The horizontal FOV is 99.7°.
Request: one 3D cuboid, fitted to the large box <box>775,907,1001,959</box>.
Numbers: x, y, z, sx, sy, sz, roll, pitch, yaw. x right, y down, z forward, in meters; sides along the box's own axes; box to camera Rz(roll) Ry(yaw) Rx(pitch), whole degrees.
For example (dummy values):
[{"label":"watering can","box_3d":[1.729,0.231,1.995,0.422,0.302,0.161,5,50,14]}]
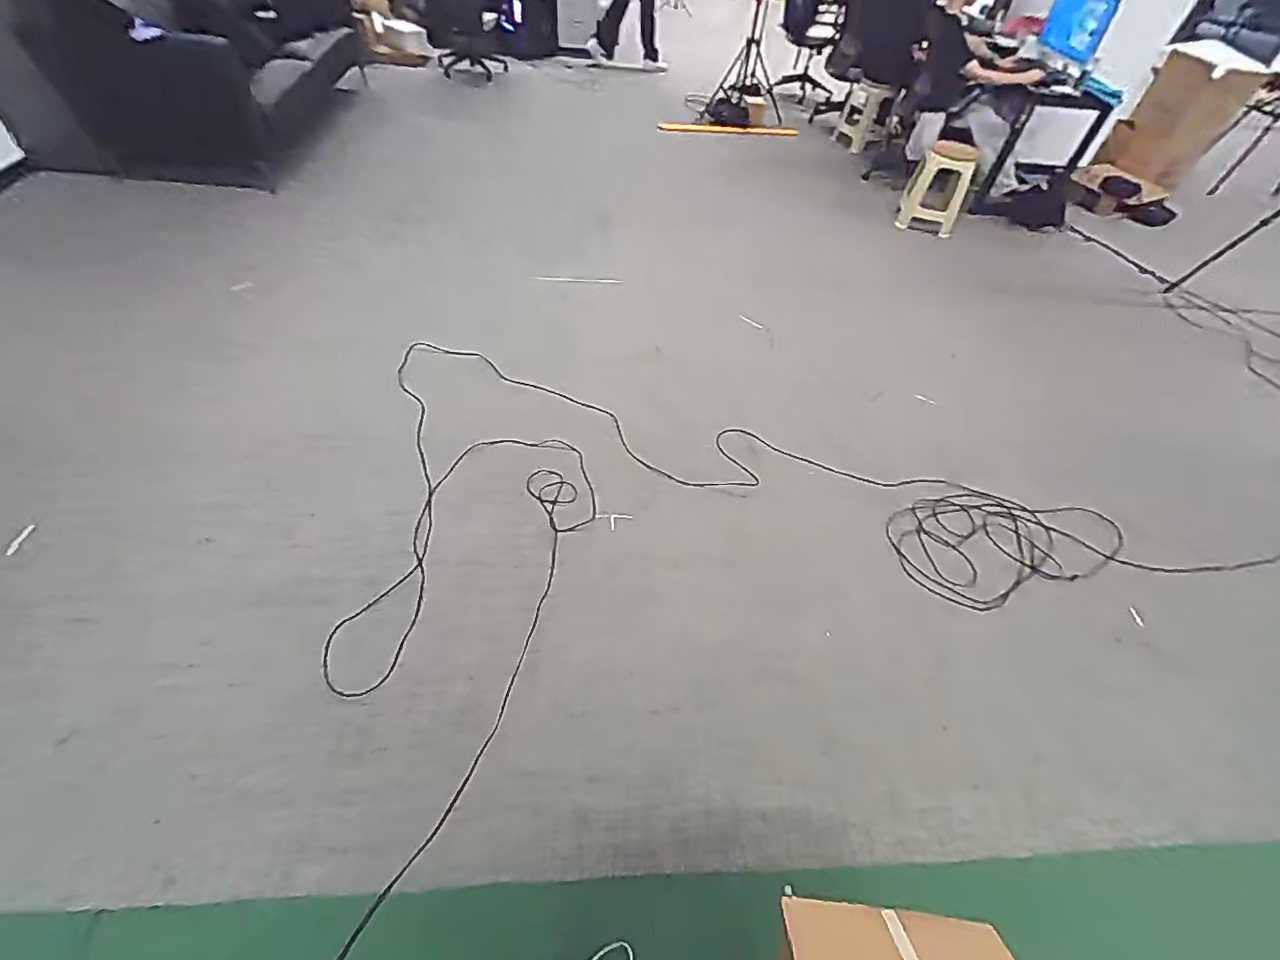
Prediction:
[{"label":"large box","box_3d":[0.342,0.817,0.624,0.320,0.408,0.320,6,91,3]}]
